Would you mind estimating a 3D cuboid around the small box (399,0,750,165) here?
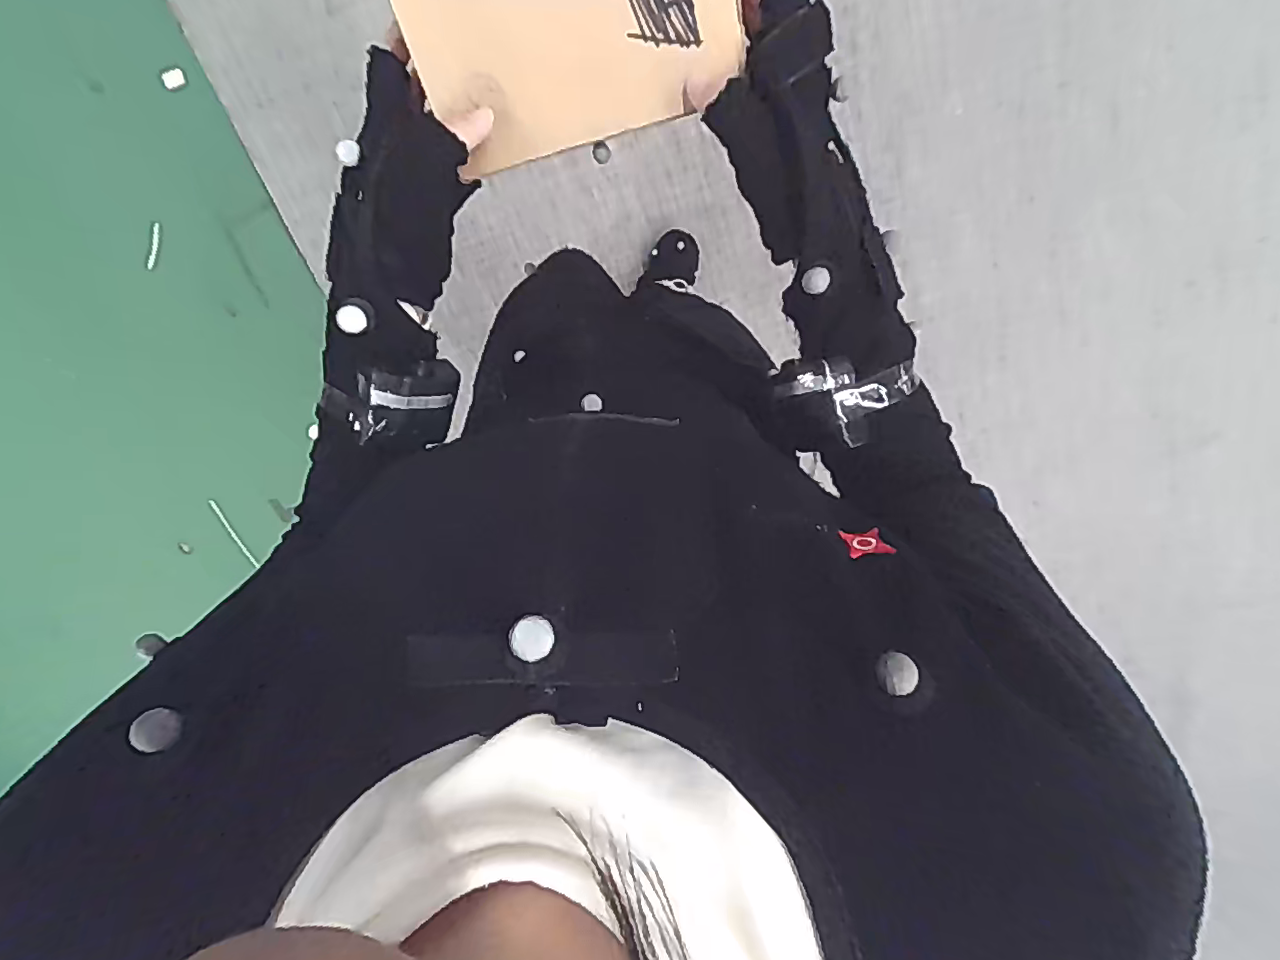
[{"bbox_3d":[-0.039,-0.313,0.328,0.179,0.176,0.168,-10,124,10],"label":"small box"}]
